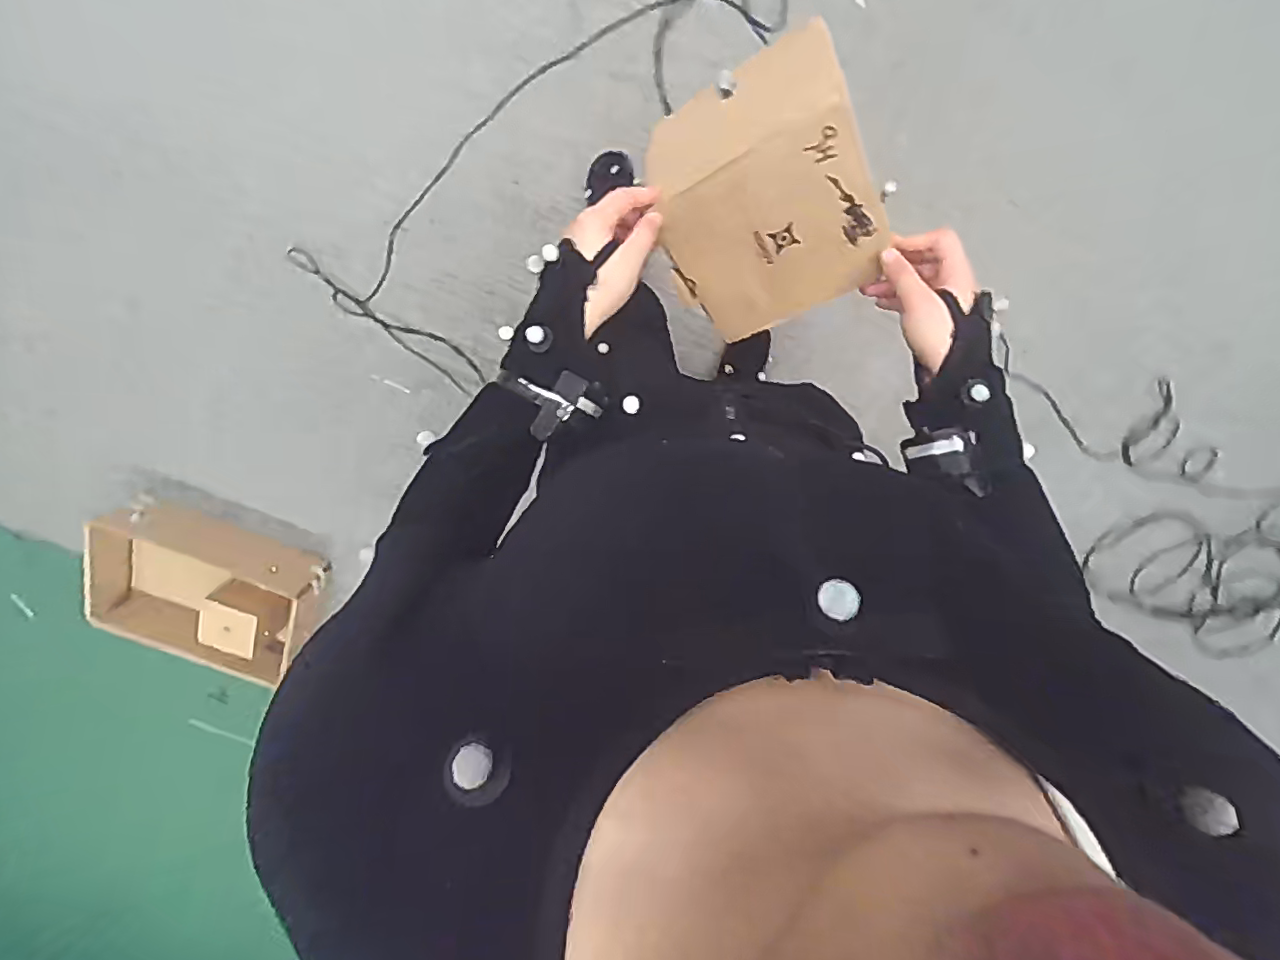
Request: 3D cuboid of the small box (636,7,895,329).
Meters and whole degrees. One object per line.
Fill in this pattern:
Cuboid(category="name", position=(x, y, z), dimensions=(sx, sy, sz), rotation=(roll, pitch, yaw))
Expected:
Cuboid(category="small box", position=(0.119, -0.285, 0.512), dimensions=(0.179, 0.176, 0.168), rotation=(-18, 138, 30))
